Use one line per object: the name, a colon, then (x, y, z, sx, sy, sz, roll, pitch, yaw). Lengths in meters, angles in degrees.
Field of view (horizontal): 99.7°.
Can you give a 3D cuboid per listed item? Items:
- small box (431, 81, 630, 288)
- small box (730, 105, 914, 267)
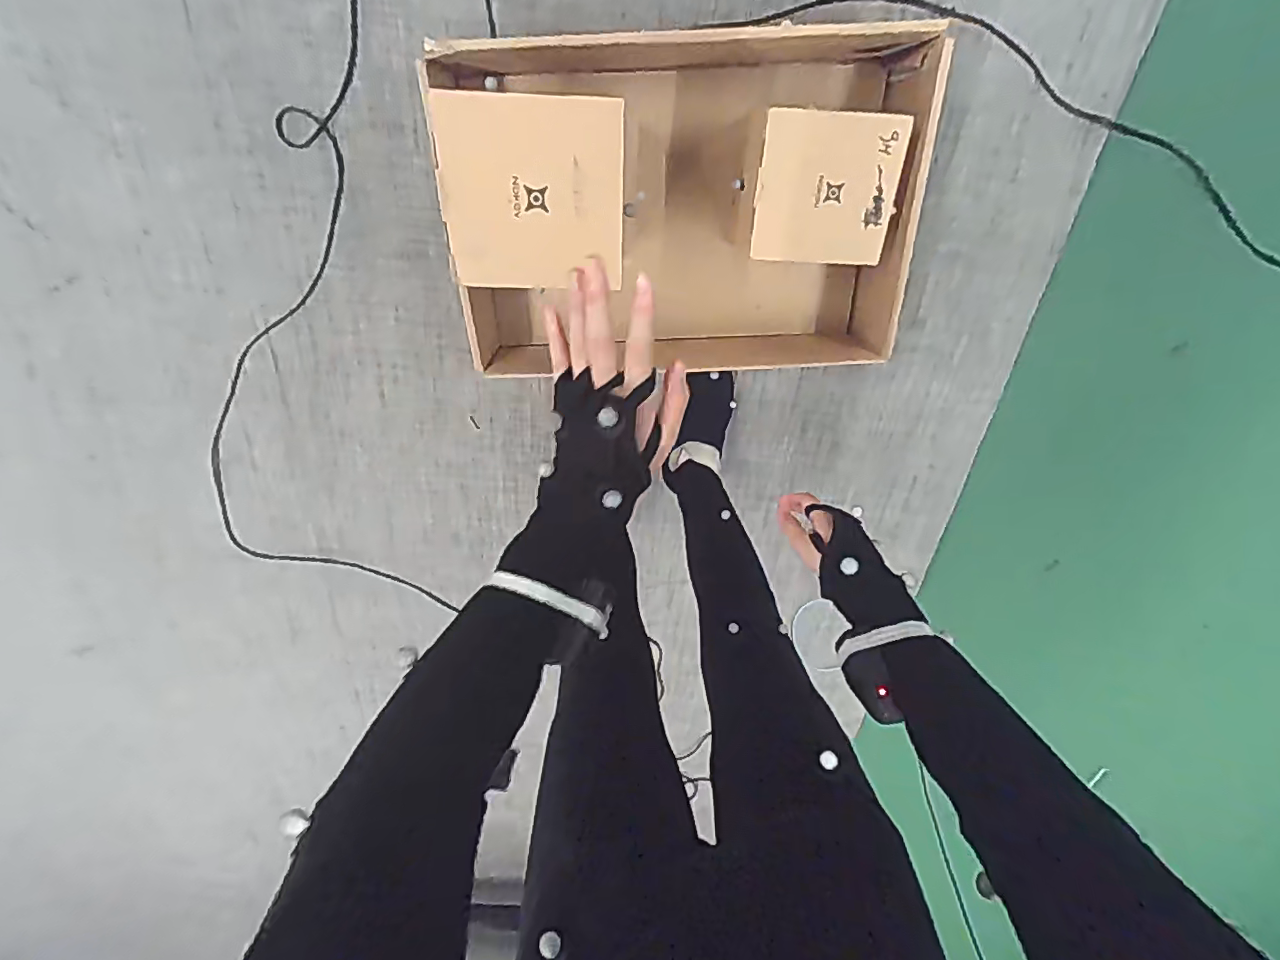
small box: (-0.103, -0.312, 0.580, 0.179, 0.176, 0.168, 1, 121, -4)
small box: (0.227, -0.393, 0.733, 0.179, 0.176, 0.168, 3, 120, -3)
